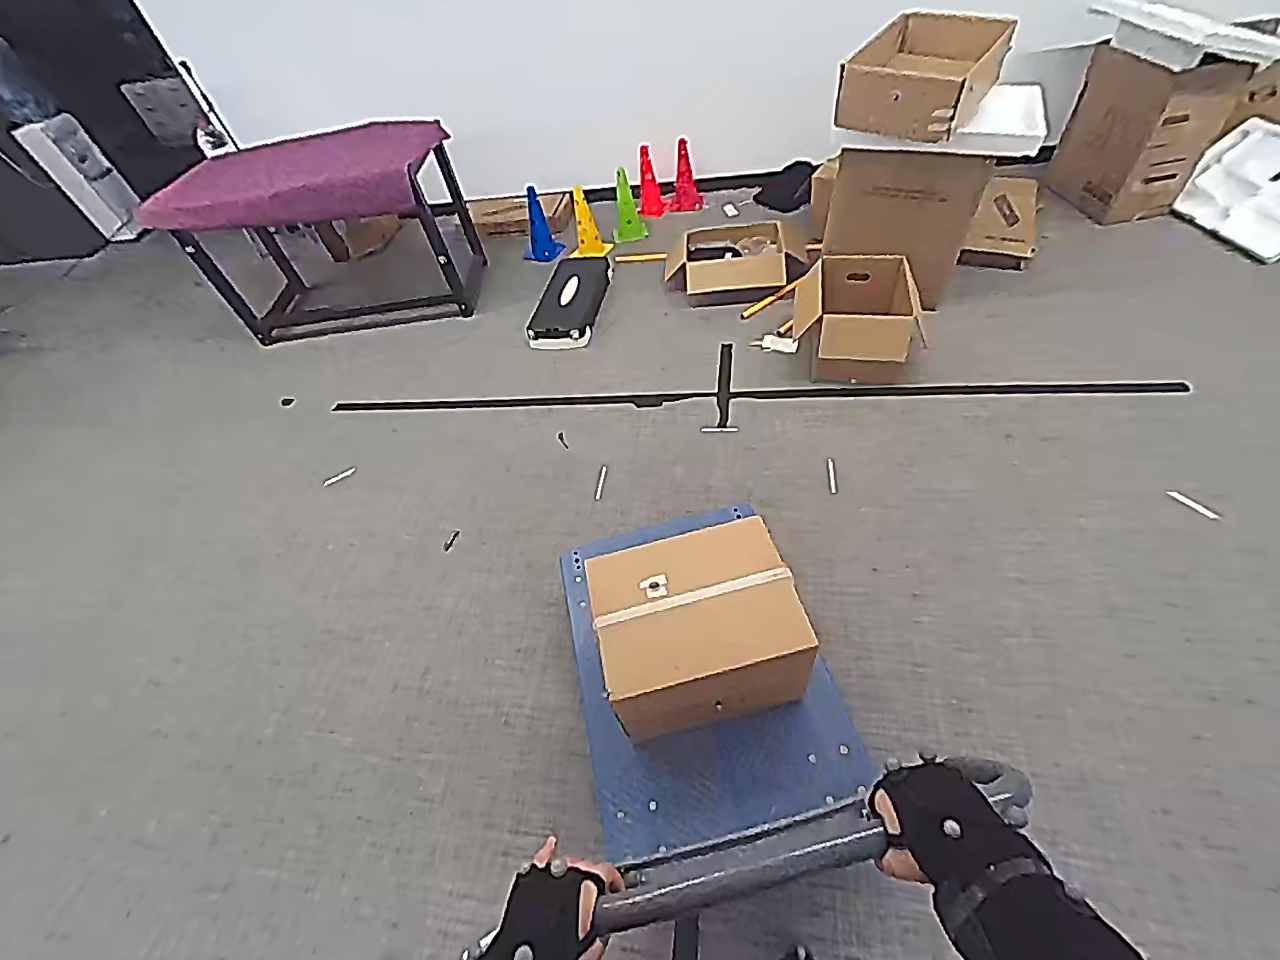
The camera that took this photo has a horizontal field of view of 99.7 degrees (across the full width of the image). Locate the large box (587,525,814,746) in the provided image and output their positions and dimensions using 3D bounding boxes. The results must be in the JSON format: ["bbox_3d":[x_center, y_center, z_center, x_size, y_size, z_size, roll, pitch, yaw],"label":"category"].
[{"bbox_3d":[0.129,0.355,1.220,0.408,0.320,0.320,-15,49,-2],"label":"large box"}]
